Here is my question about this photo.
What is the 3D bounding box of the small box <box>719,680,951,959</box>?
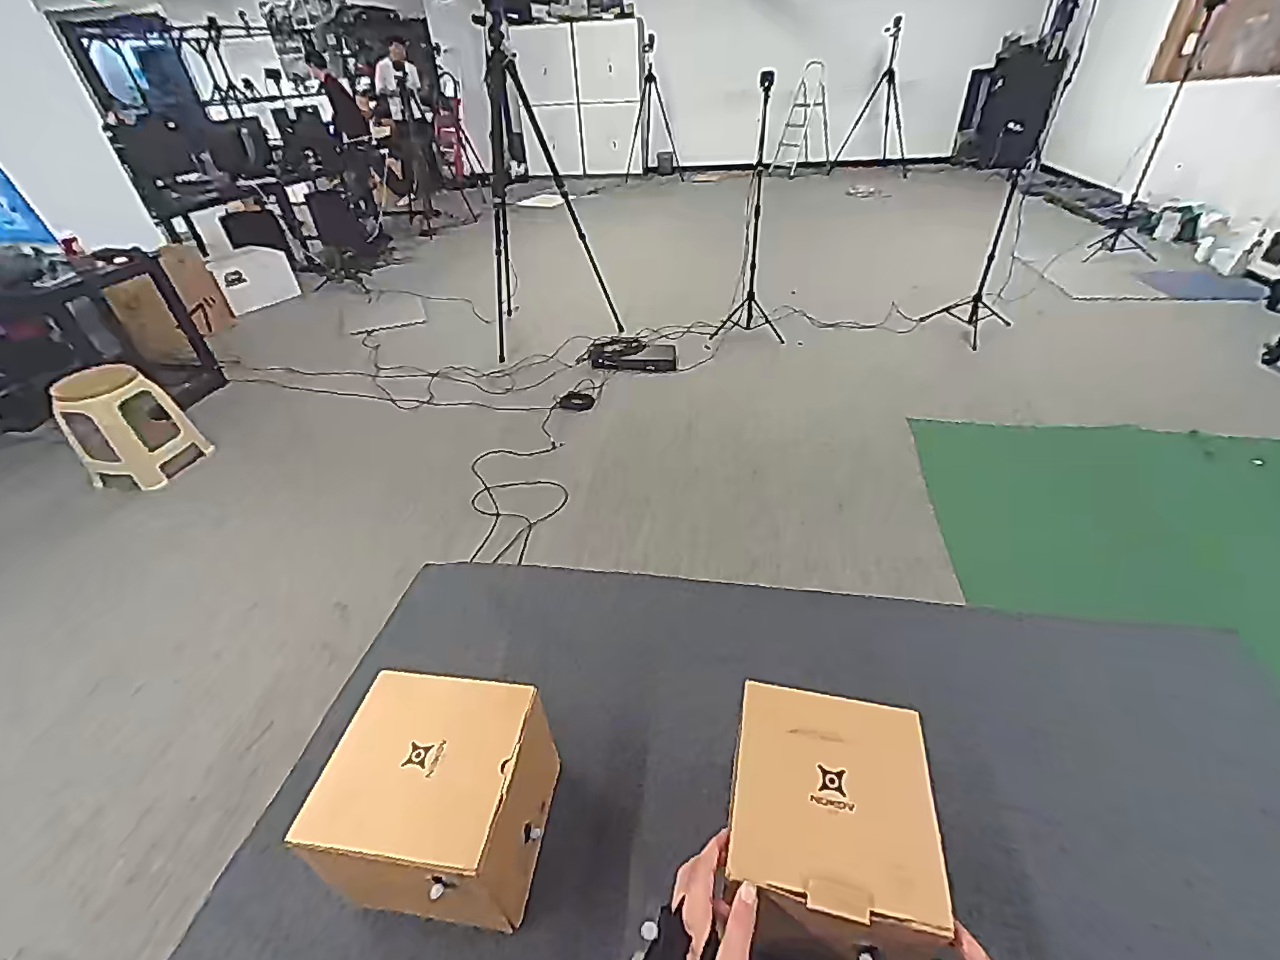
[{"bbox_3d":[0.168,0.327,0.516,0.168,0.176,0.179,7,38,11],"label":"small box"}]

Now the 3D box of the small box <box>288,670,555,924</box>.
[{"bbox_3d":[-0.198,0.321,0.552,0.179,0.176,0.168,3,38,7],"label":"small box"}]
